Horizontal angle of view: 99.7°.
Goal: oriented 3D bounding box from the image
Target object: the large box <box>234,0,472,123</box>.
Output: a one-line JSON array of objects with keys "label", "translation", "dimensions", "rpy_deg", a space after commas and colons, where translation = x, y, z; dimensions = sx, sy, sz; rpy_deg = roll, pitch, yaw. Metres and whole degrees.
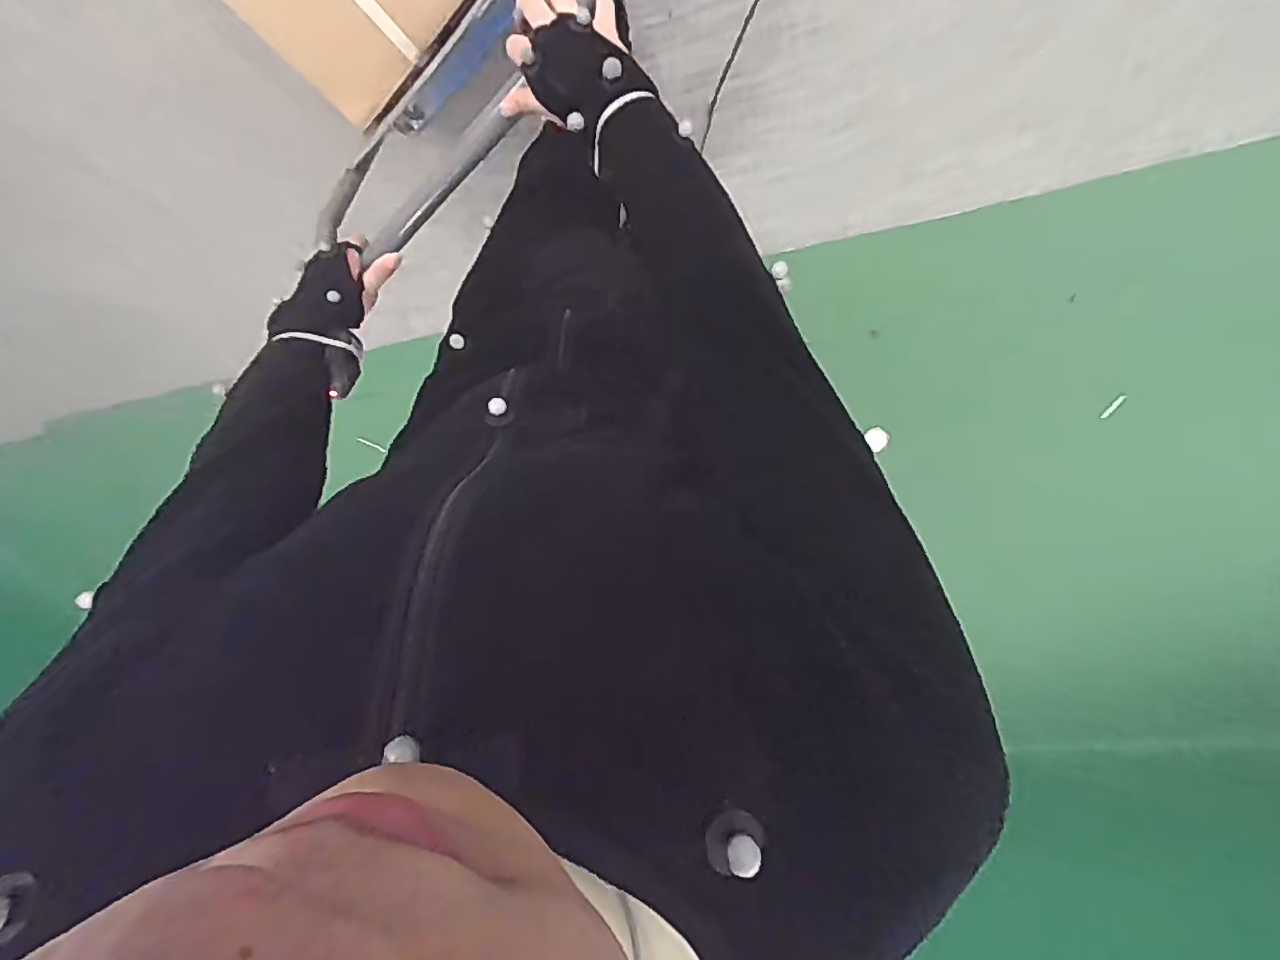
[{"label": "large box", "translation": [-0.453, -0.849, 0.788], "dimensions": [0.320, 0.320, 0.408], "rpy_deg": [-30, 132, 27]}]
